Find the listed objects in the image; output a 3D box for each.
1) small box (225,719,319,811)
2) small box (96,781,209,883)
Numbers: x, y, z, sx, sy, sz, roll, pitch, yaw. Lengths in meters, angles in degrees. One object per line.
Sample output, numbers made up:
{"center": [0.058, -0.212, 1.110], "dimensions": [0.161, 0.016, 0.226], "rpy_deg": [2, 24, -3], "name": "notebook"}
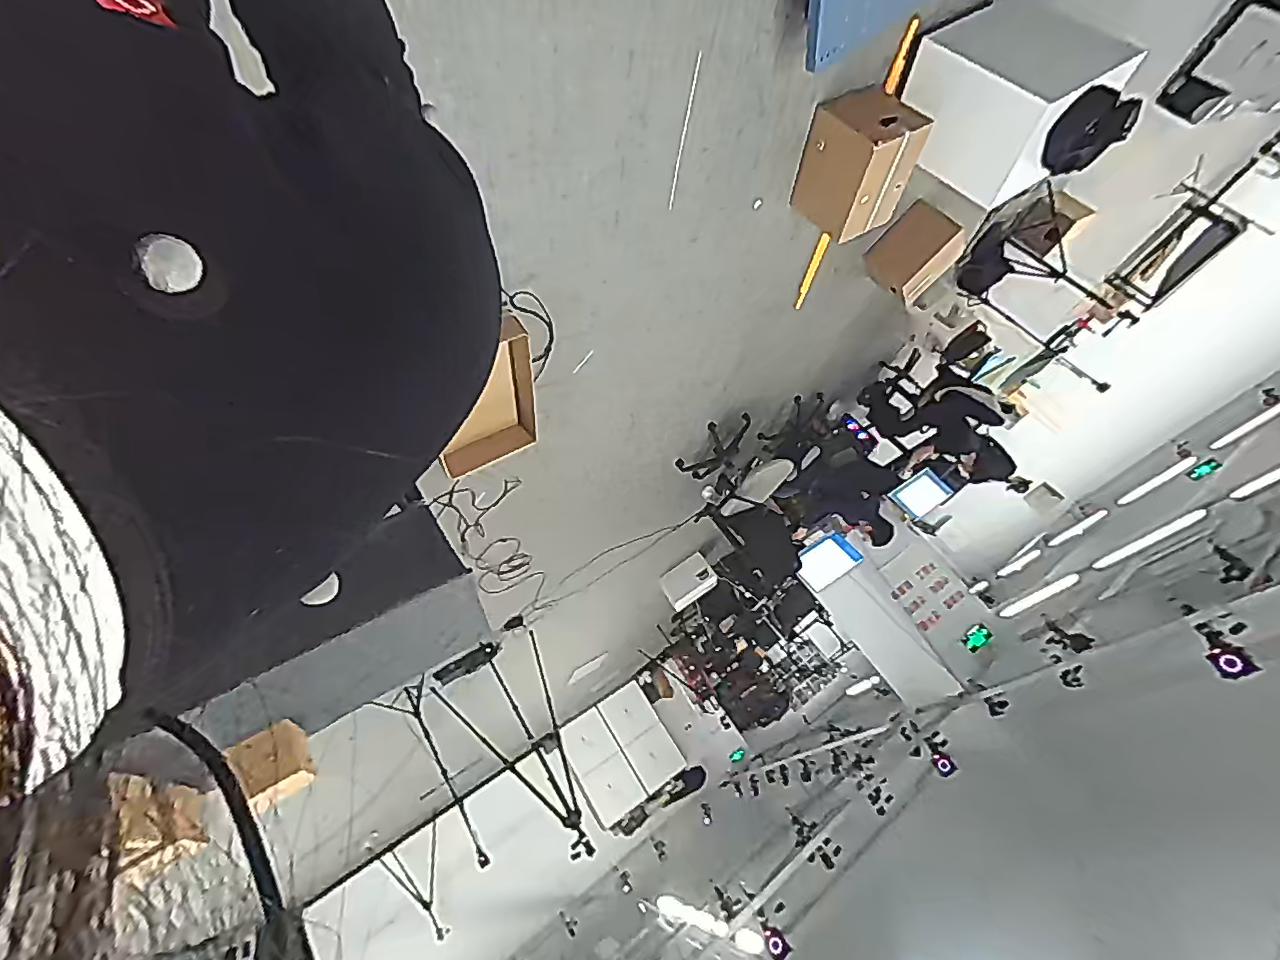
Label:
{"center": [-1.088, 0.839, 1.601], "dimensions": [0.168, 0.176, 0.179], "rpy_deg": [-25, 154, -28], "name": "small box"}
{"center": [-1.319, 0.951, 1.468], "dimensions": [0.168, 0.176, 0.179], "rpy_deg": [-25, 153, -28], "name": "small box"}
